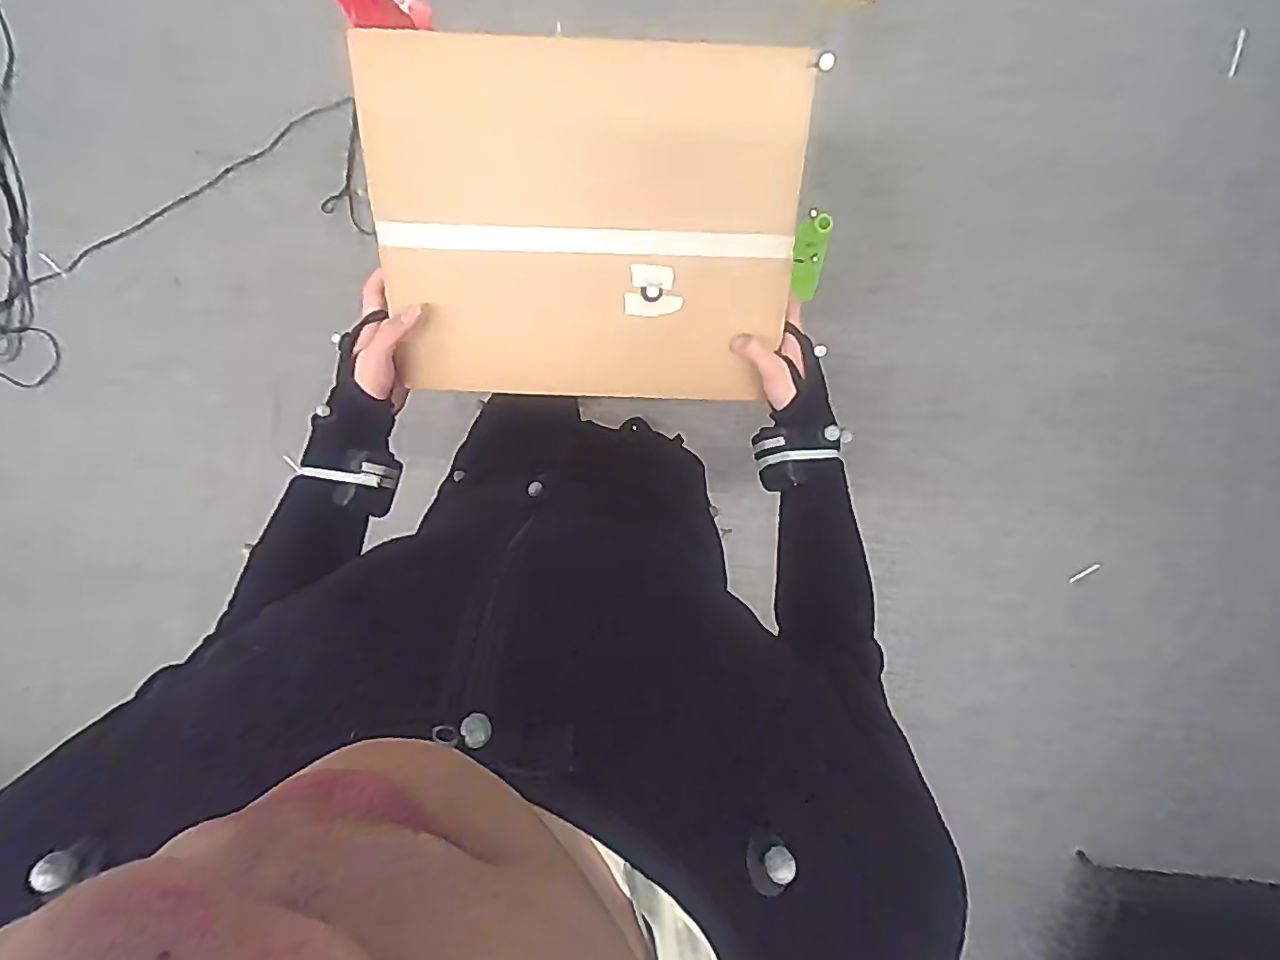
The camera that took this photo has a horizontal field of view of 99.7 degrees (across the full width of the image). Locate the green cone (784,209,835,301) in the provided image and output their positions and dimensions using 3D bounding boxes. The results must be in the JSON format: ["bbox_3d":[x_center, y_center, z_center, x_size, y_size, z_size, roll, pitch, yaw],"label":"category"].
[{"bbox_3d":[0.401,-0.581,1.325,0.200,0.368,0.202,11,100,-1],"label":"green cone"}]

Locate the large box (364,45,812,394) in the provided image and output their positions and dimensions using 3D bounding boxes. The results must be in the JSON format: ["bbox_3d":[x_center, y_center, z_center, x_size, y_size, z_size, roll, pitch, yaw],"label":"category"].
[{"bbox_3d":[-0.050,-0.297,0.671,0.408,0.320,0.320,1,115,-1],"label":"large box"}]
